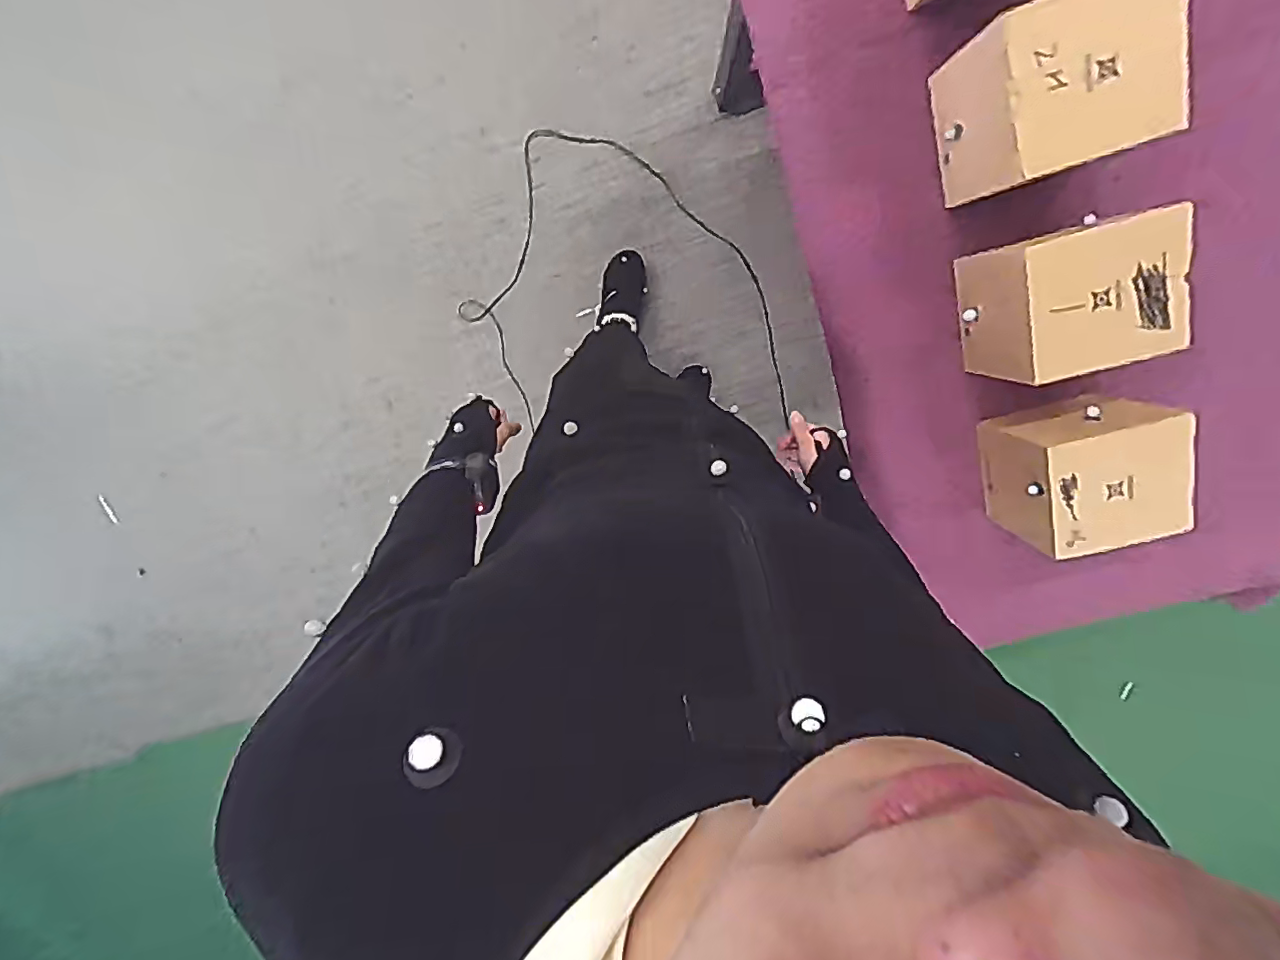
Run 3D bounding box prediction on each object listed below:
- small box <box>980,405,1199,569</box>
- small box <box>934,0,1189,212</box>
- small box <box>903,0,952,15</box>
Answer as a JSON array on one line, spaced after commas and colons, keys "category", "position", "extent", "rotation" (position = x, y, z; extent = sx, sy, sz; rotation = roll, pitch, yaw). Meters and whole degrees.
[{"category": "small box", "position": [0.623, 0.001, 0.768], "extent": [0.179, 0.176, 0.168], "rotation": [-14, 105, 7]}, {"category": "small box", "position": [0.484, -0.441, 0.641], "extent": [0.179, 0.176, 0.168], "rotation": [-15, 105, 8]}, {"category": "small box", "position": [0.390, -0.664, 0.580], "extent": [0.179, 0.176, 0.168], "rotation": [-20, 104, 10]}]
